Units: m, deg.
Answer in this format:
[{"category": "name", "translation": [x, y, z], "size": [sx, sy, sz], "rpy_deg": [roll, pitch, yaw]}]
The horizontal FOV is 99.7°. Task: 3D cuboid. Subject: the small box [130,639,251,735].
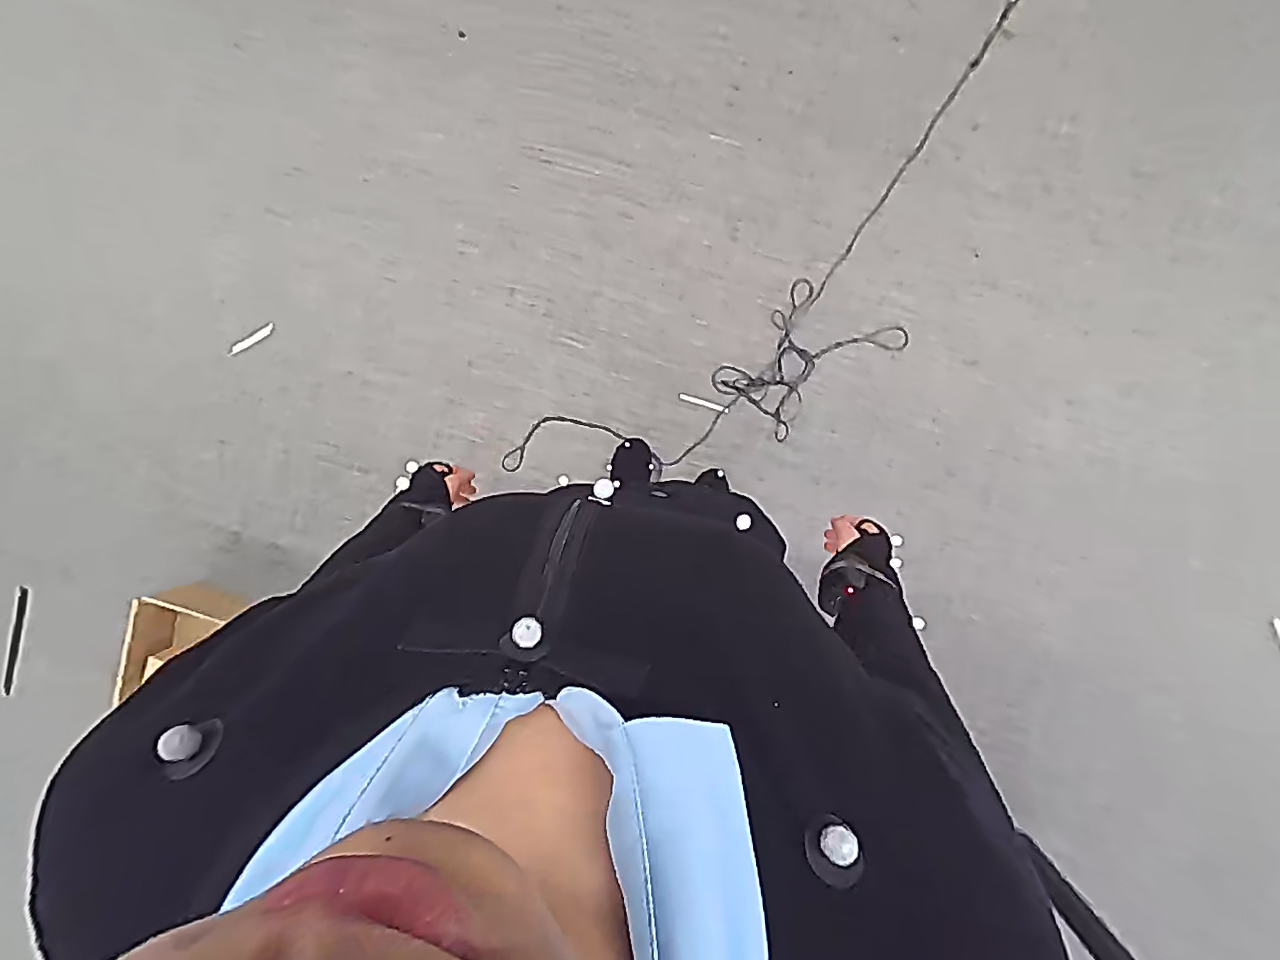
[{"category": "small box", "translation": [-1.248, 0.567, 1.511], "size": [0.179, 0.176, 0.168], "rpy_deg": [22, 96, 2]}]
